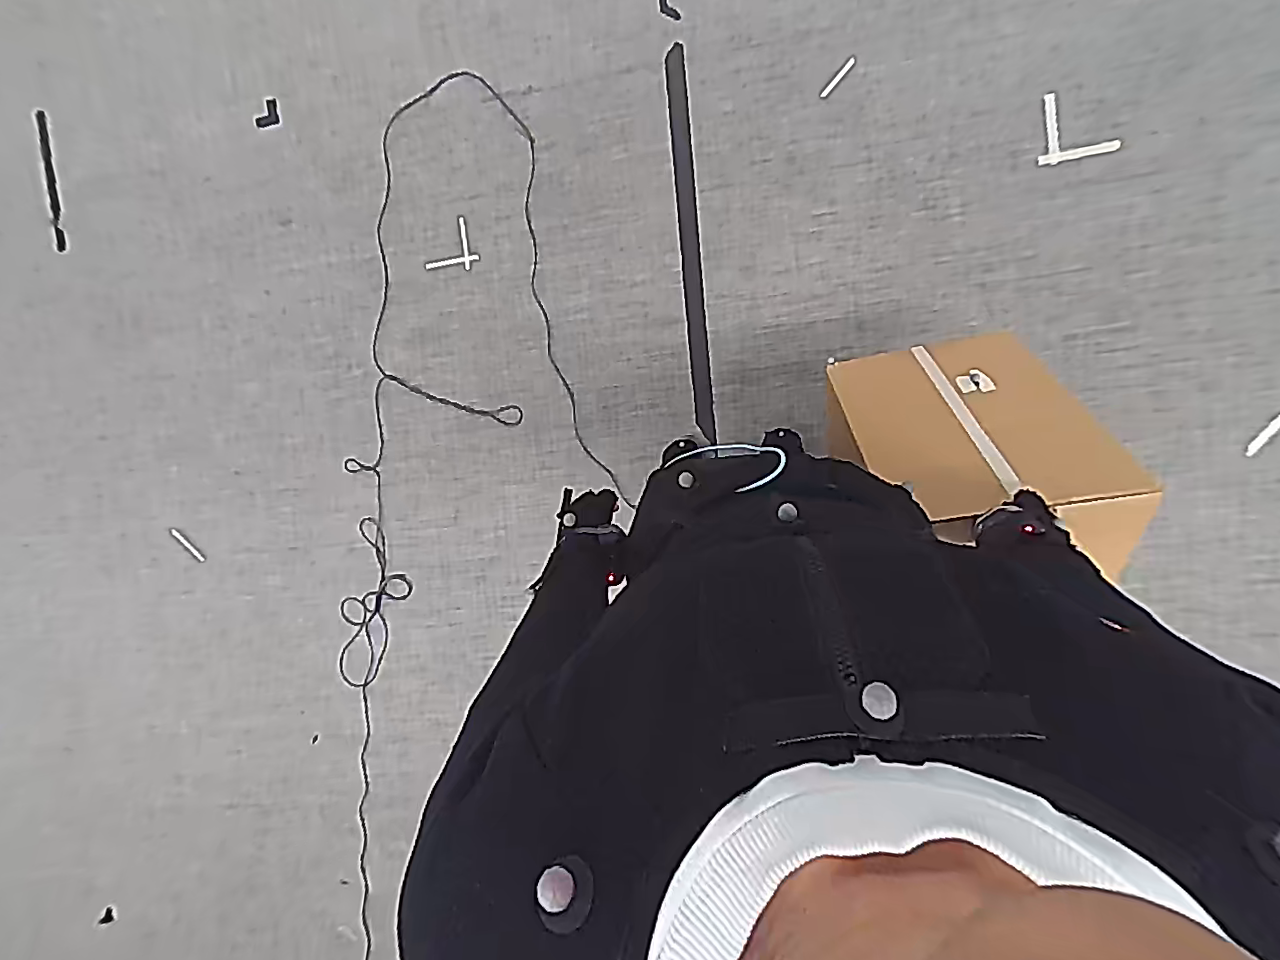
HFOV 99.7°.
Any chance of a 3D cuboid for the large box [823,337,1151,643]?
[{"bbox_3d":[0.525,0.012,0.932,0.320,0.408,0.320,-9,131,9],"label":"large box"}]
